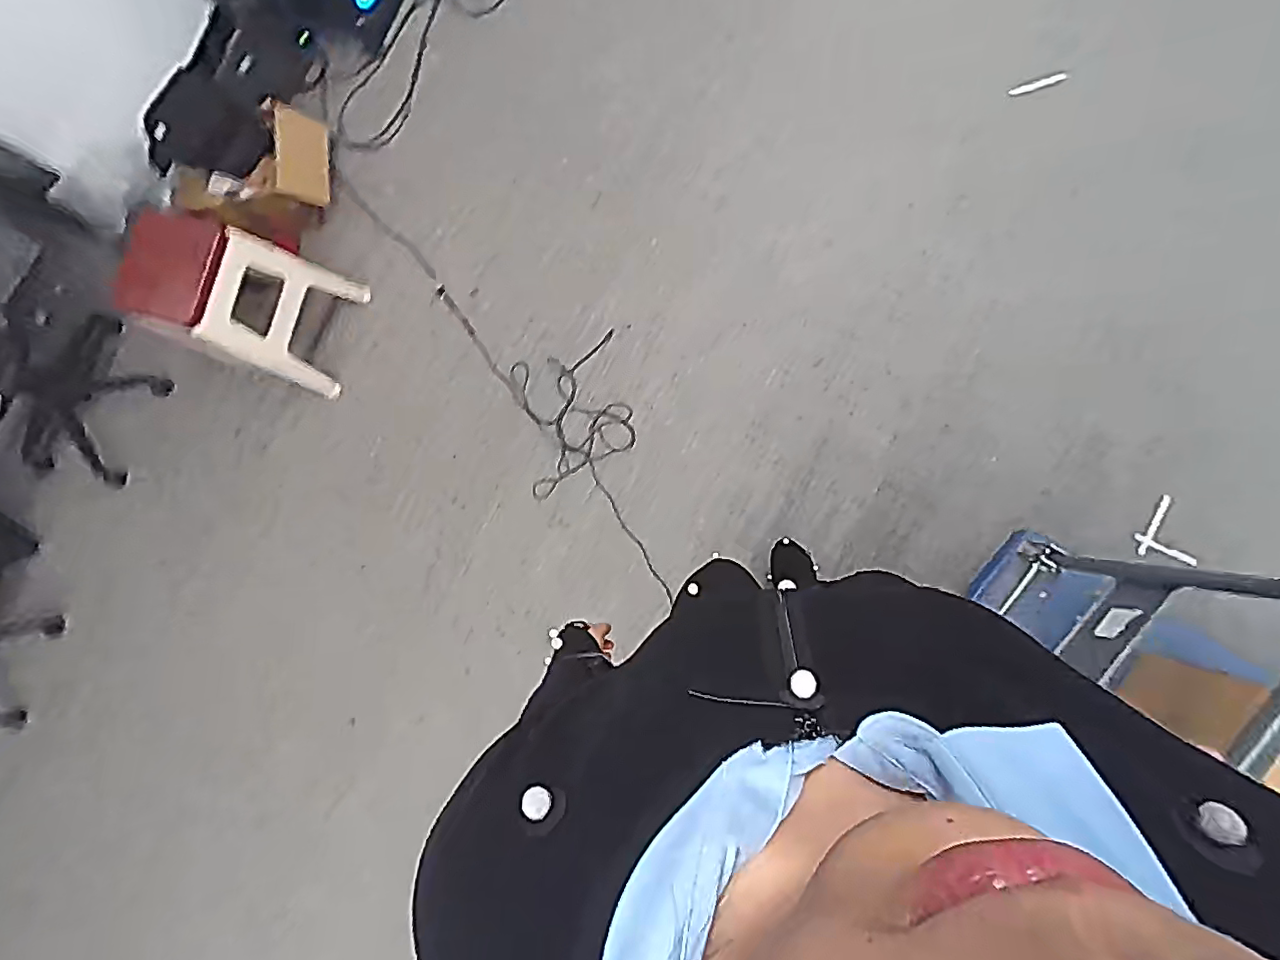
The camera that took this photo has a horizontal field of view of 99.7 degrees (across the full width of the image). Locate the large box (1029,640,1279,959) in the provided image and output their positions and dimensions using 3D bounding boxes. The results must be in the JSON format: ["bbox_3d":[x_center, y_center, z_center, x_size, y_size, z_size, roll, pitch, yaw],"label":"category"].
[{"bbox_3d":[1.022,0.561,0.968,0.320,0.320,0.408,36,91,13],"label":"large box"}]
